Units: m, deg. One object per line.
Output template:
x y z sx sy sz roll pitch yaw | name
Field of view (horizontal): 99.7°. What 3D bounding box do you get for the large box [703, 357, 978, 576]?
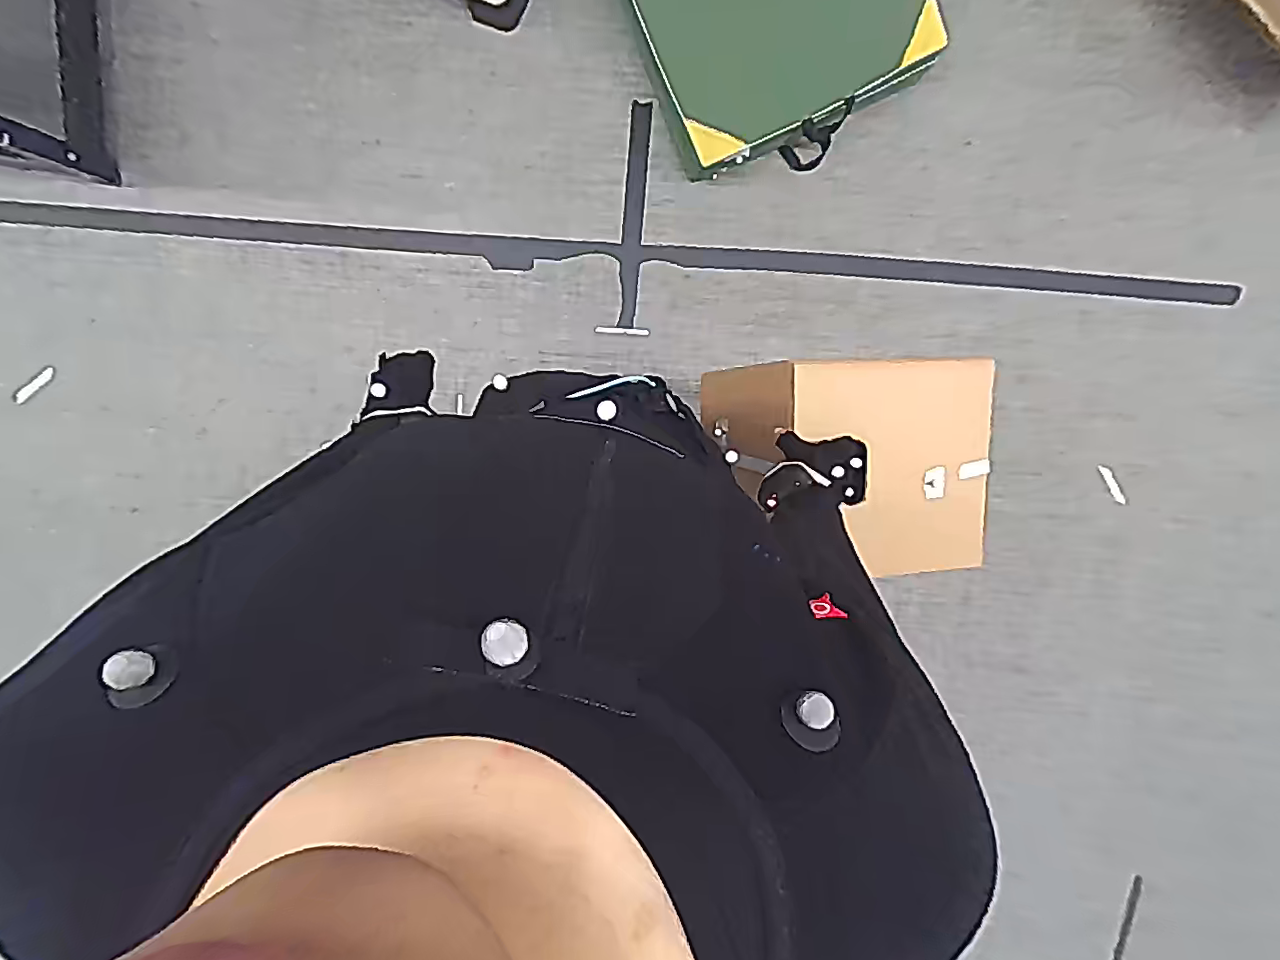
0.321 -0.046 0.971 0.320 0.408 0.320 -3 99 -10 | large box
